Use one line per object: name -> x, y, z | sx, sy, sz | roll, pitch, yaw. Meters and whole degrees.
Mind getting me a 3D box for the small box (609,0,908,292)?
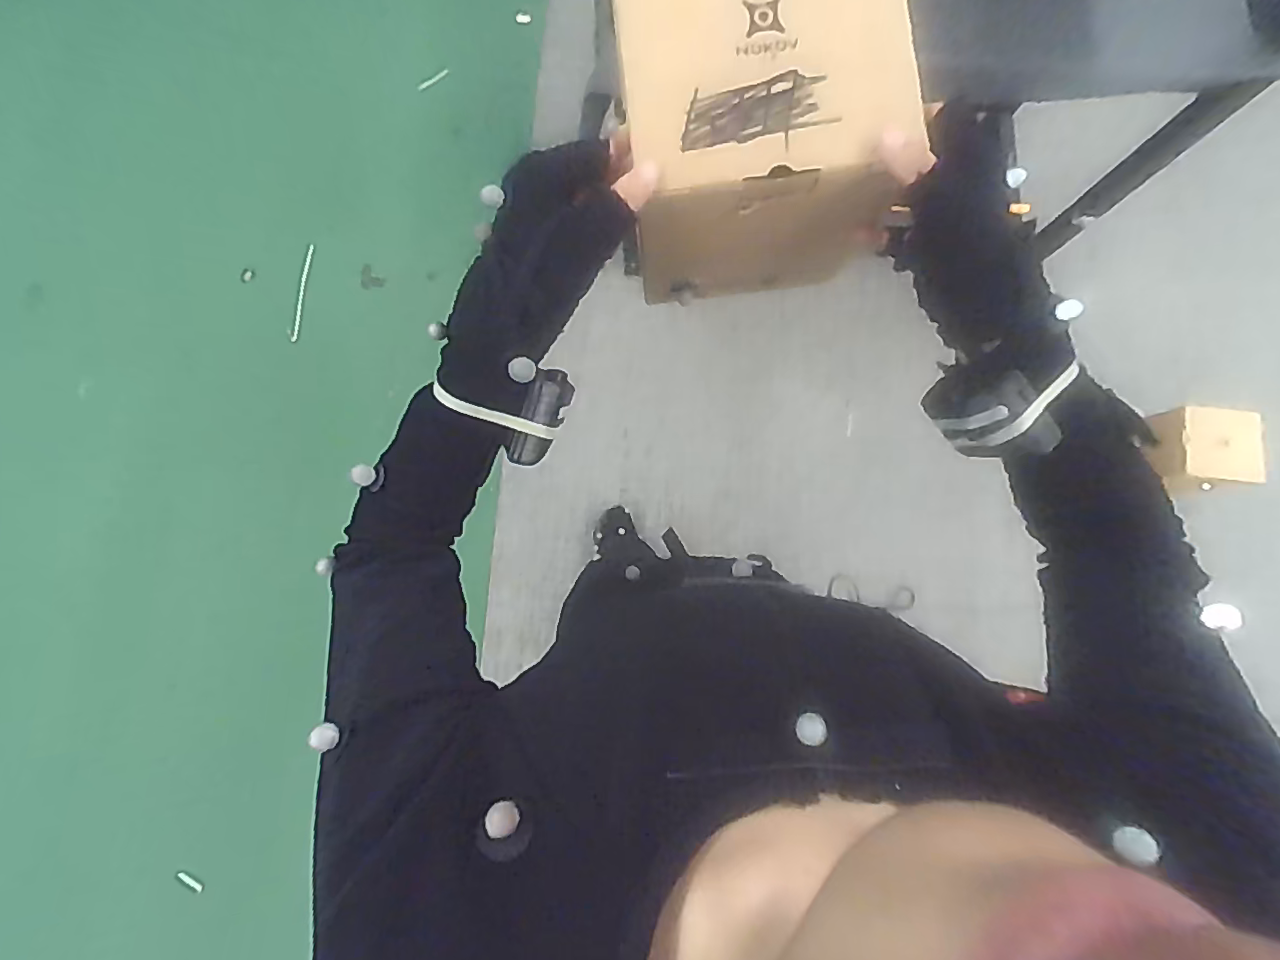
small box -> 0.070, -0.253, 0.399 | 0.168, 0.176, 0.179 | -6, 86, 2
